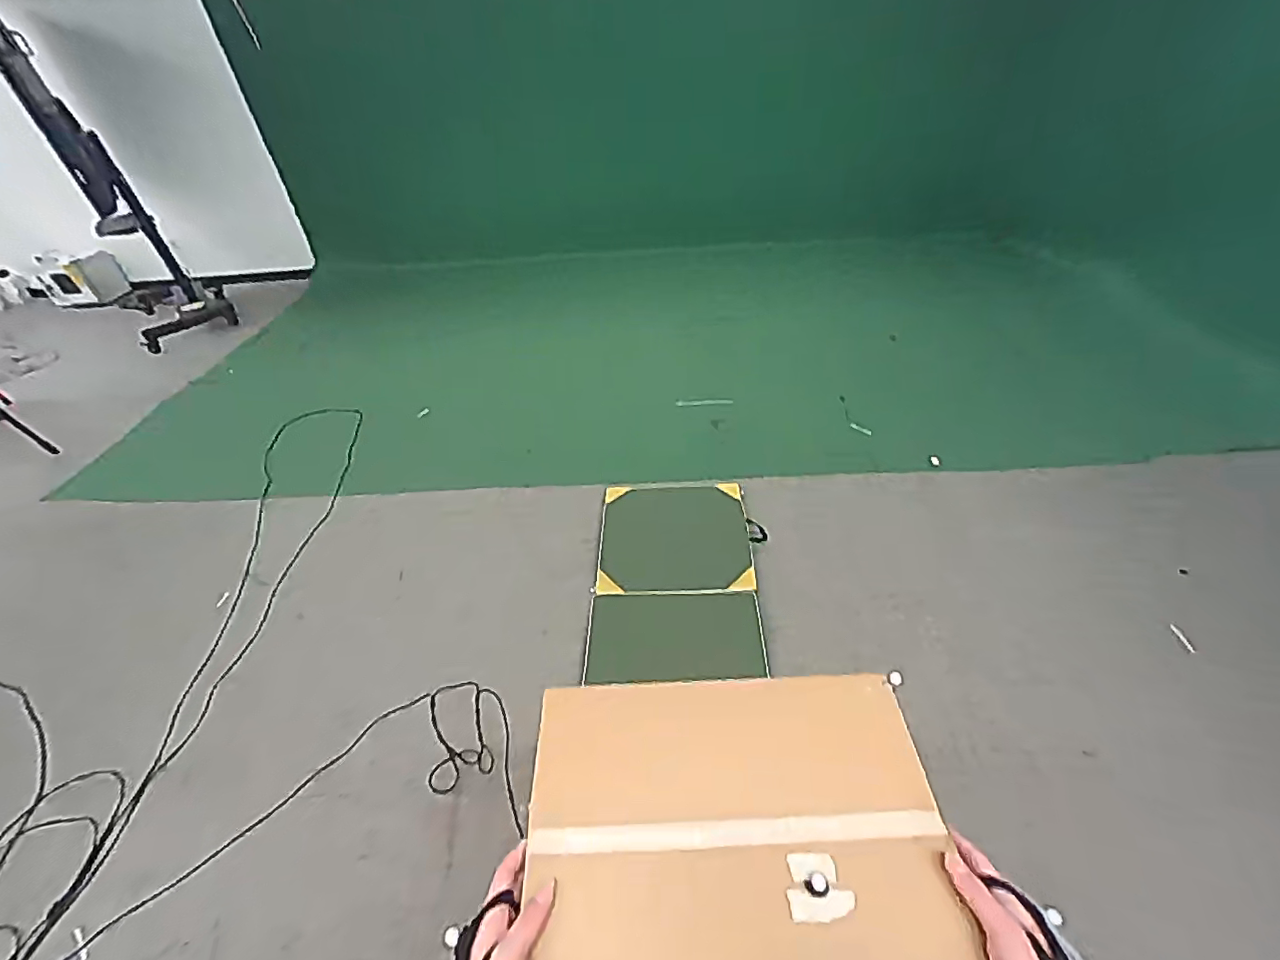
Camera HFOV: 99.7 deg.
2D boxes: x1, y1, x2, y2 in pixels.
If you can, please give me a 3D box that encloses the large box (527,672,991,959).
[{"bbox_3d":[0.099,0.455,0.636,0.408,0.320,0.320,-3,43,0],"label":"large box"}]
